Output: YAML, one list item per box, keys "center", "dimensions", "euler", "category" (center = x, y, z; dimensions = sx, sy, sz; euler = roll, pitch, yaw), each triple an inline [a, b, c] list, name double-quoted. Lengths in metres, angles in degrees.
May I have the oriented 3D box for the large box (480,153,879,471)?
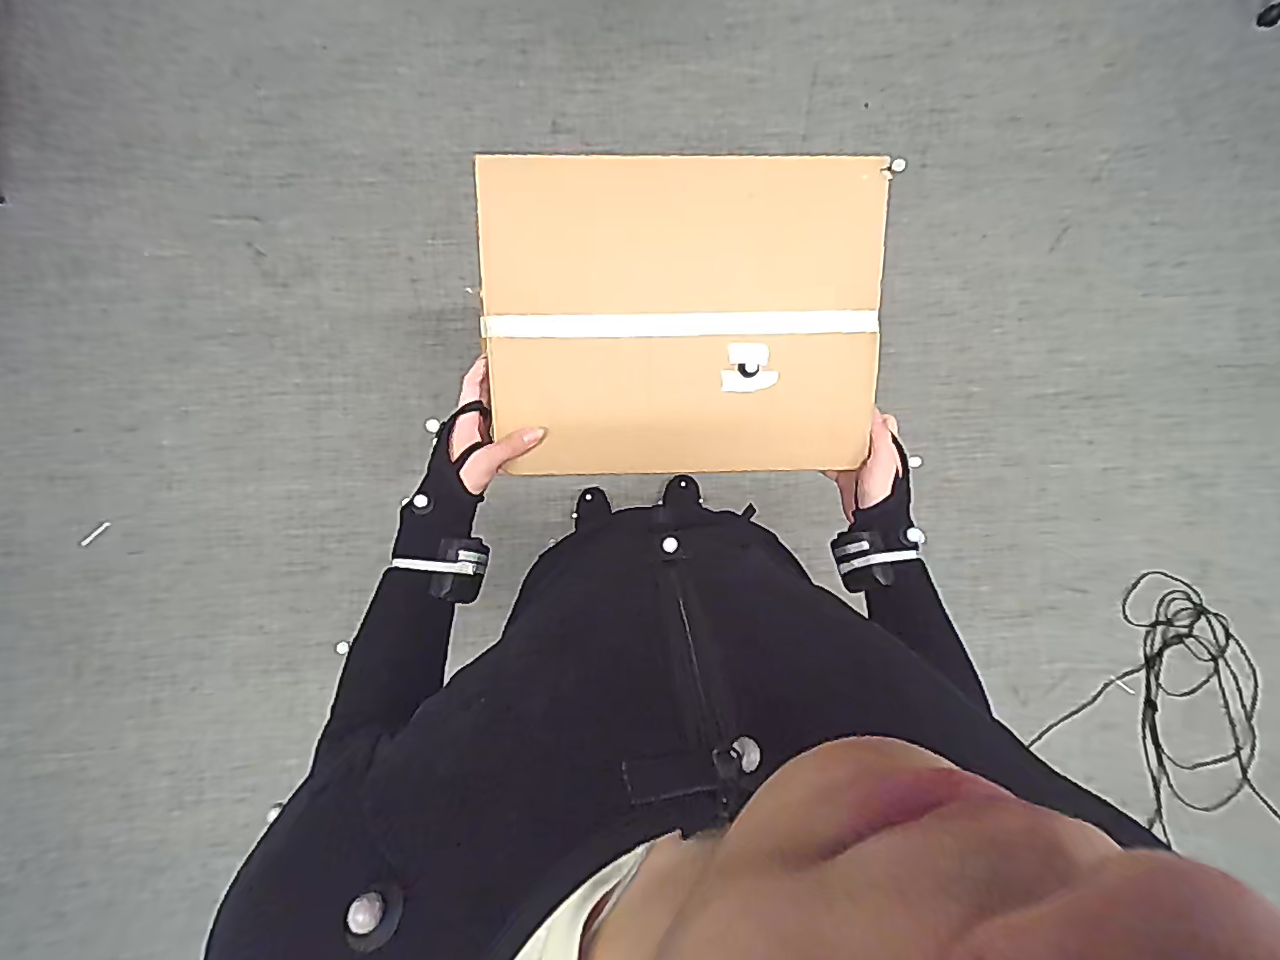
- center: [0.038, -0.198, 0.707]
  dimensions: [0.408, 0.320, 0.320]
  euler: [-2, 103, -2]
  category: "large box"
